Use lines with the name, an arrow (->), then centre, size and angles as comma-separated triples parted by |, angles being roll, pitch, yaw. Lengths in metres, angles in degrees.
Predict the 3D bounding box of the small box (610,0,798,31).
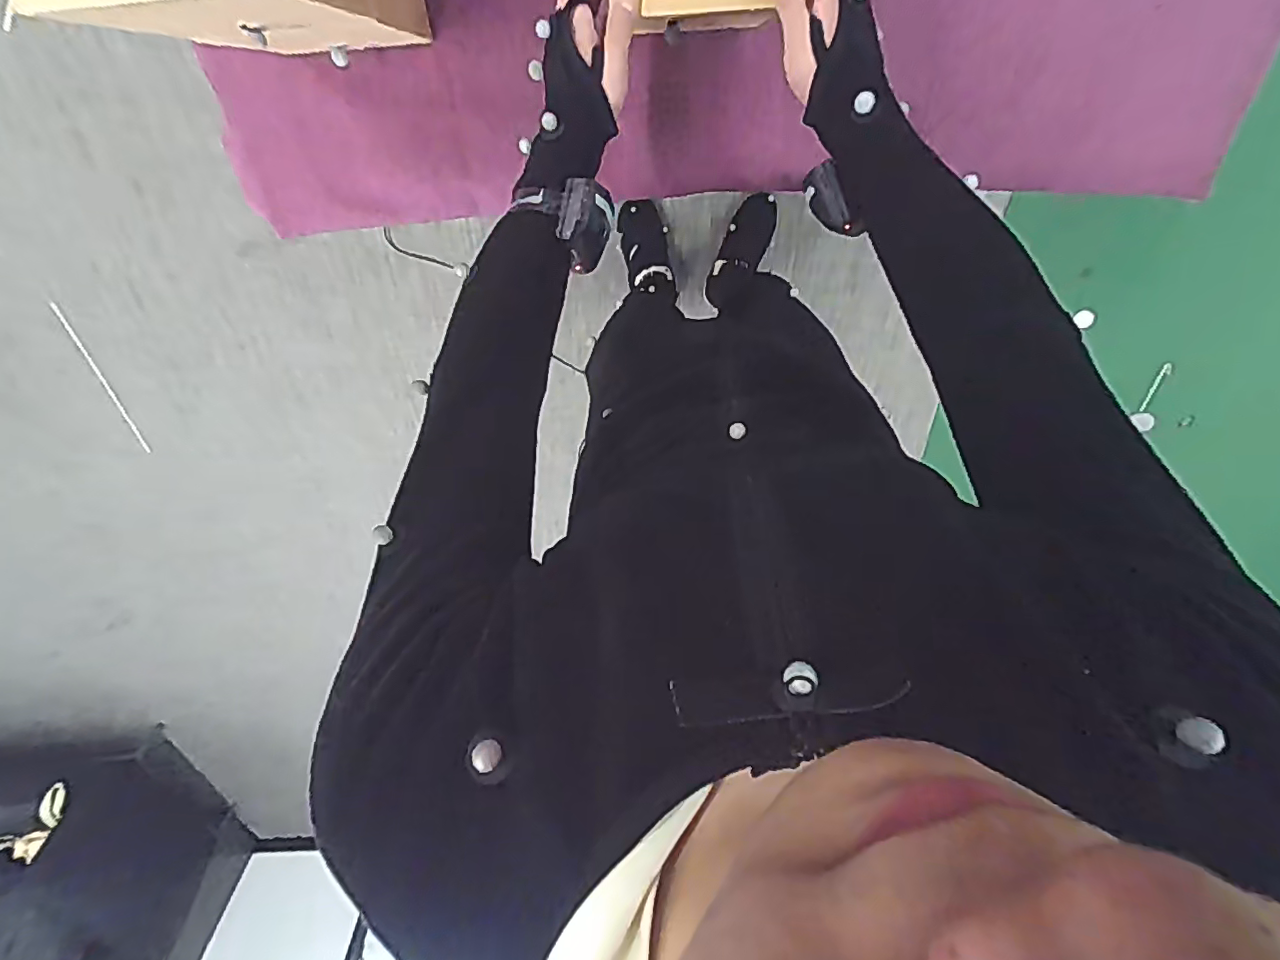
small box -> 0.052, -0.520, 0.481 | 0.168, 0.176, 0.179 | -3, 124, 1

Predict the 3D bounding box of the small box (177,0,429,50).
small box -> -0.308, -0.501, 0.476 | 0.168, 0.176, 0.179 | -4, 126, 1
